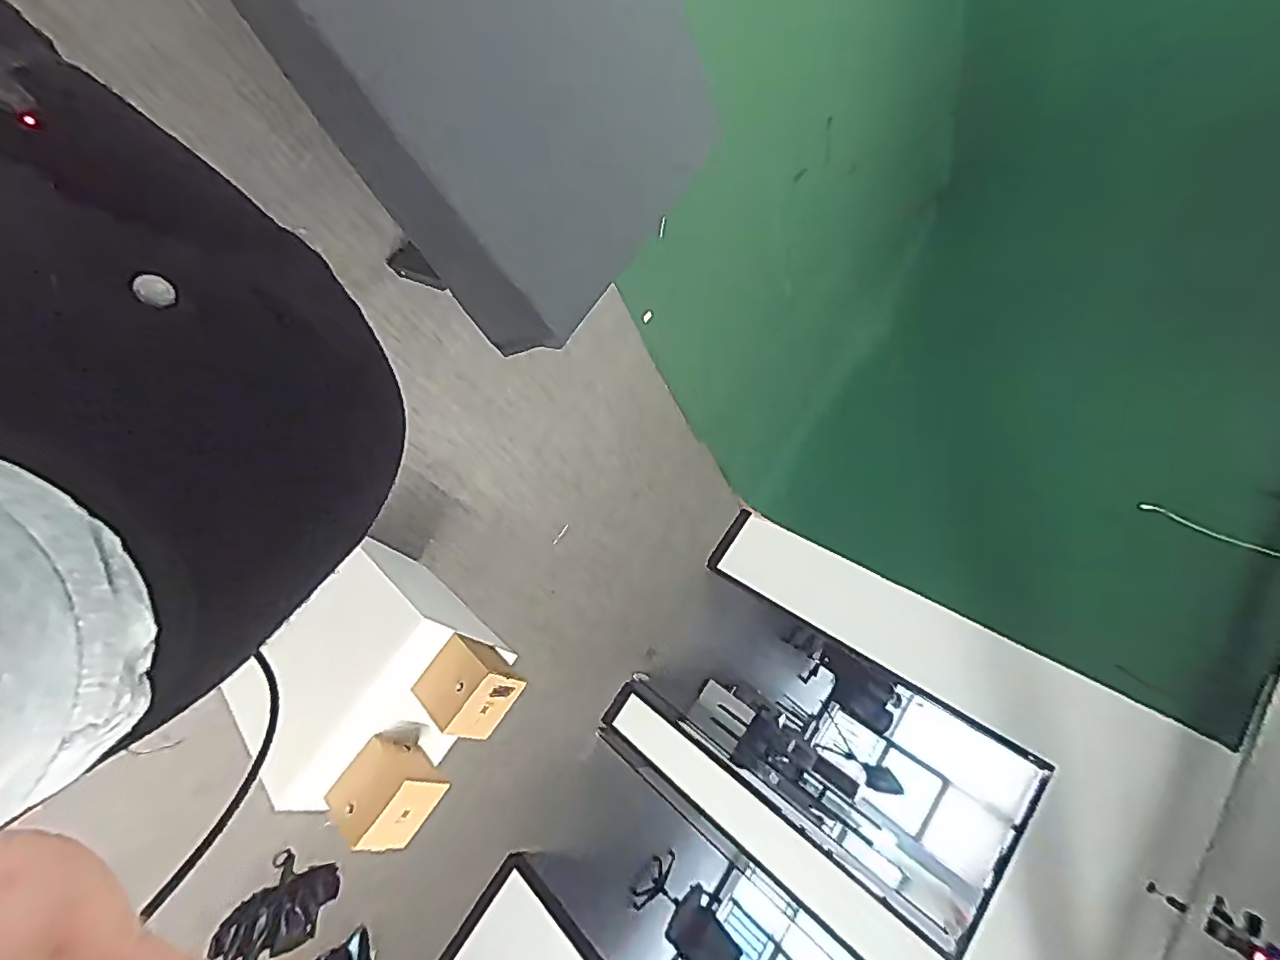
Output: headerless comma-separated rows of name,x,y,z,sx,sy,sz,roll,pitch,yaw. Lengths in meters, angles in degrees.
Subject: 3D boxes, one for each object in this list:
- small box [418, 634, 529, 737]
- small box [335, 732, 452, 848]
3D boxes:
small box,-0.426,0.521,1.377,0.179,0.176,0.168,-53,144,-9
small box,-0.604,0.752,1.316,0.179,0.176,0.168,-53,145,-14
